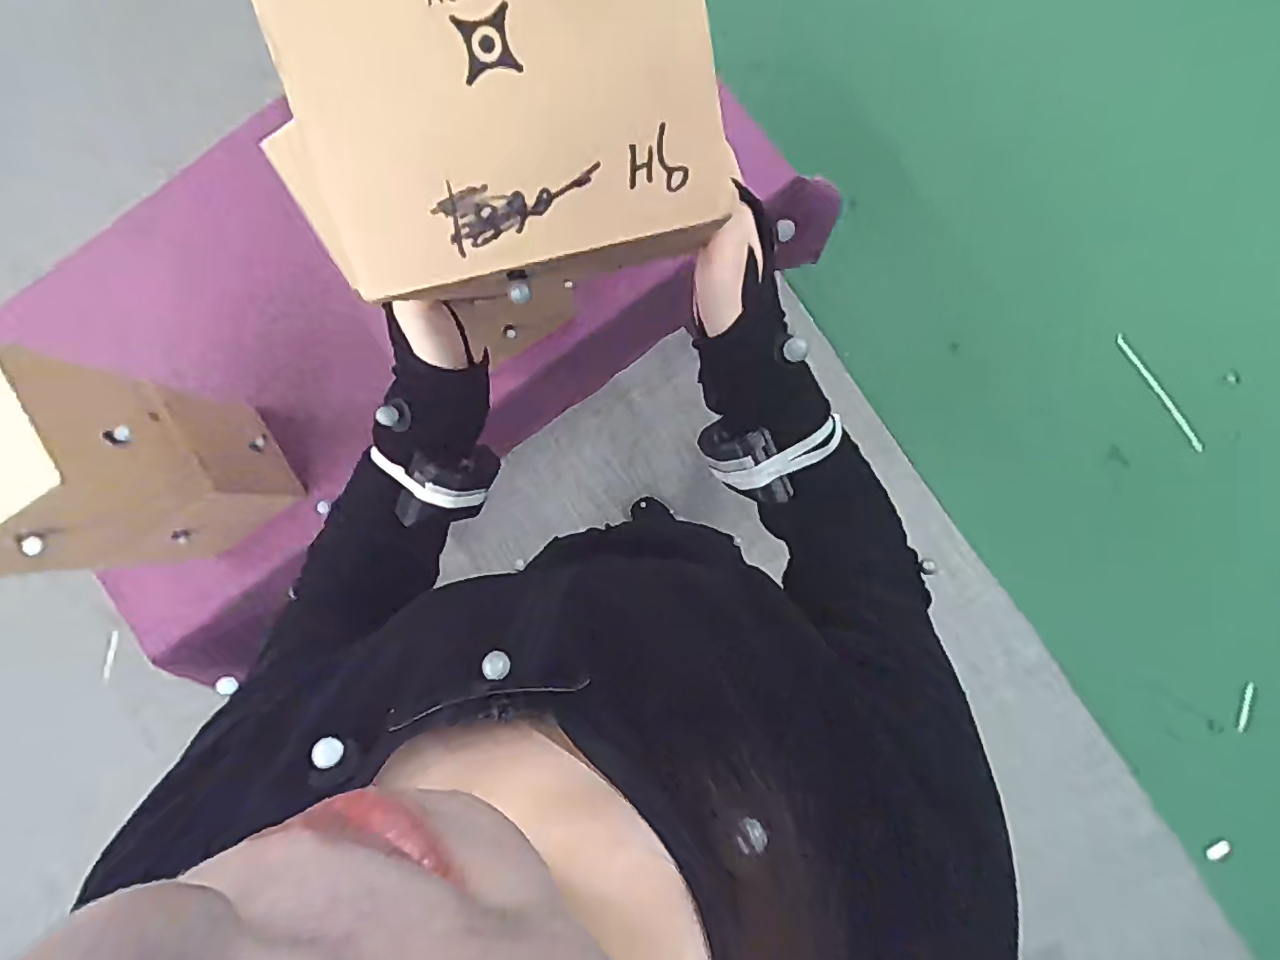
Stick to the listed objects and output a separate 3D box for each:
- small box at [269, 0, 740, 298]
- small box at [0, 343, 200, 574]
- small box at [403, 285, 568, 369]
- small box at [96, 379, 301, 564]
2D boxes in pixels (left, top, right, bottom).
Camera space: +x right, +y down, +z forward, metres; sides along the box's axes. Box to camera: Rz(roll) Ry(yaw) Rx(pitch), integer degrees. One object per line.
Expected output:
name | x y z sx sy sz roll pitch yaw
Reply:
small box | -0.052 -0.197 0.277 0.168 0.176 0.179 -10 109 5
small box | -0.622 -0.018 0.571 0.179 0.176 0.168 -34 86 2
small box | -0.212 -0.276 0.726 0.179 0.176 0.168 -34 86 2
small box | -0.617 -0.006 0.734 0.179 0.176 0.168 -33 86 1
